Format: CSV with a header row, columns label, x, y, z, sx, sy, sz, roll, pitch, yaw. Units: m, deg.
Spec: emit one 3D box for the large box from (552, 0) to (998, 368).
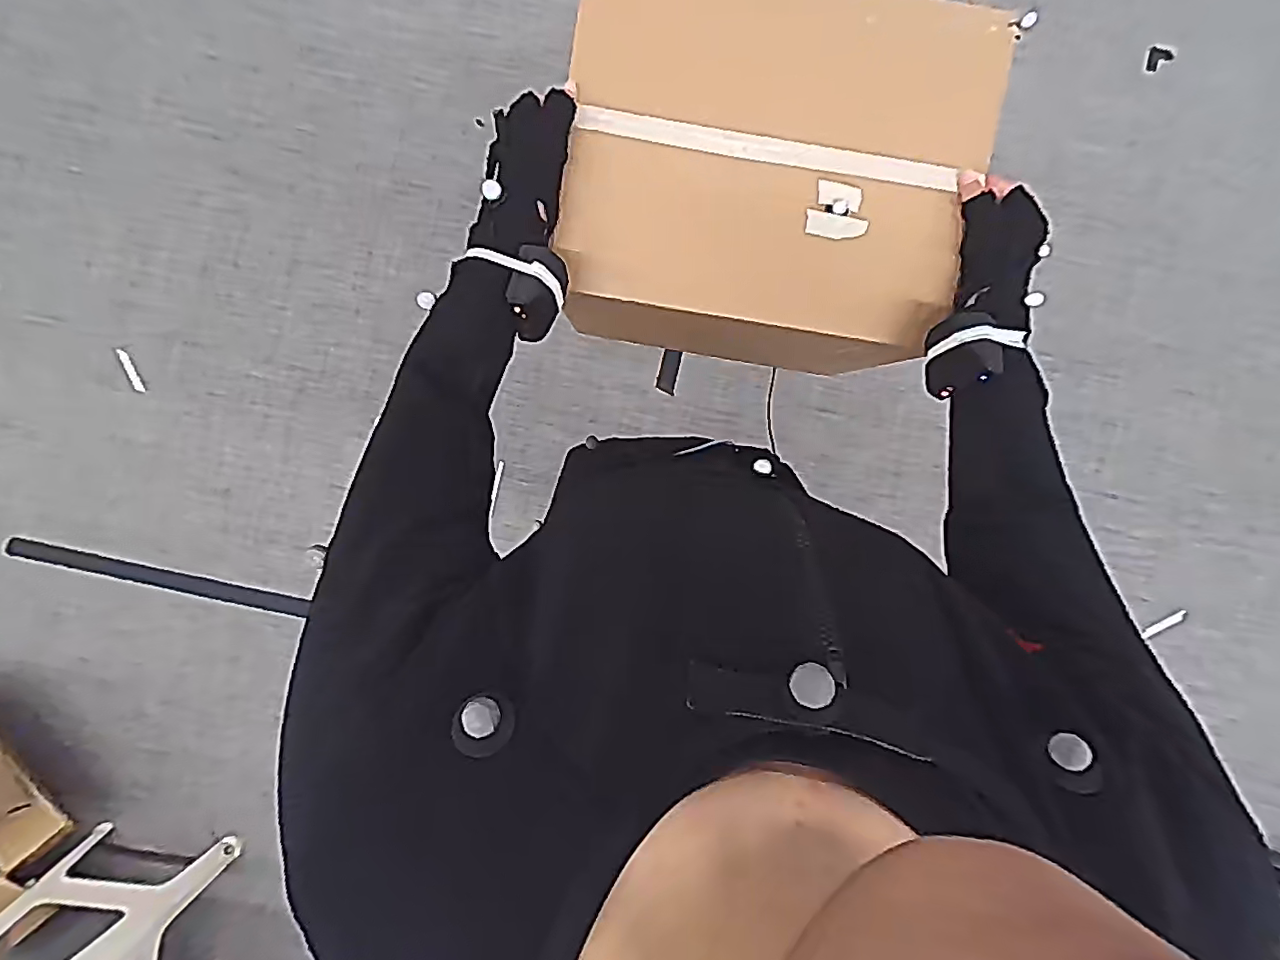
label,x,y,z,sx,sy,sz,roll,pitch,yaw
large box,0.122,-0.333,0.673,0.408,0.320,0.320,9,97,-3
